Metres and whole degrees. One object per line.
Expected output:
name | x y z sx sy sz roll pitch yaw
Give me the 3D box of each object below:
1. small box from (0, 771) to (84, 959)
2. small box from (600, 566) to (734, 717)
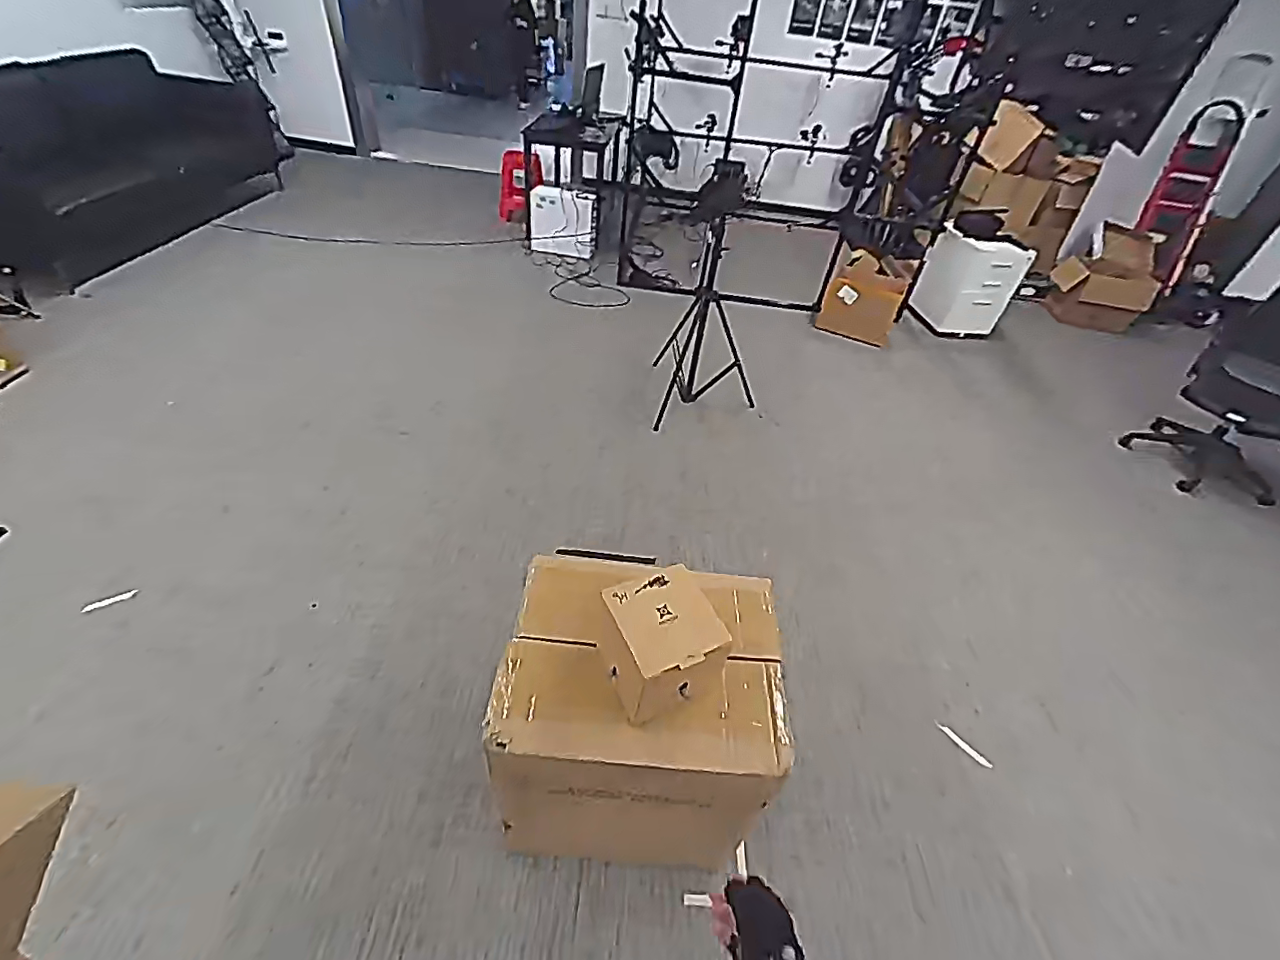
small box | -0.399 0.239 0.229 0.168 0.179 0.176 15 71 -27
small box | 0.037 0.286 0.944 0.168 0.176 0.179 -15 48 -23
